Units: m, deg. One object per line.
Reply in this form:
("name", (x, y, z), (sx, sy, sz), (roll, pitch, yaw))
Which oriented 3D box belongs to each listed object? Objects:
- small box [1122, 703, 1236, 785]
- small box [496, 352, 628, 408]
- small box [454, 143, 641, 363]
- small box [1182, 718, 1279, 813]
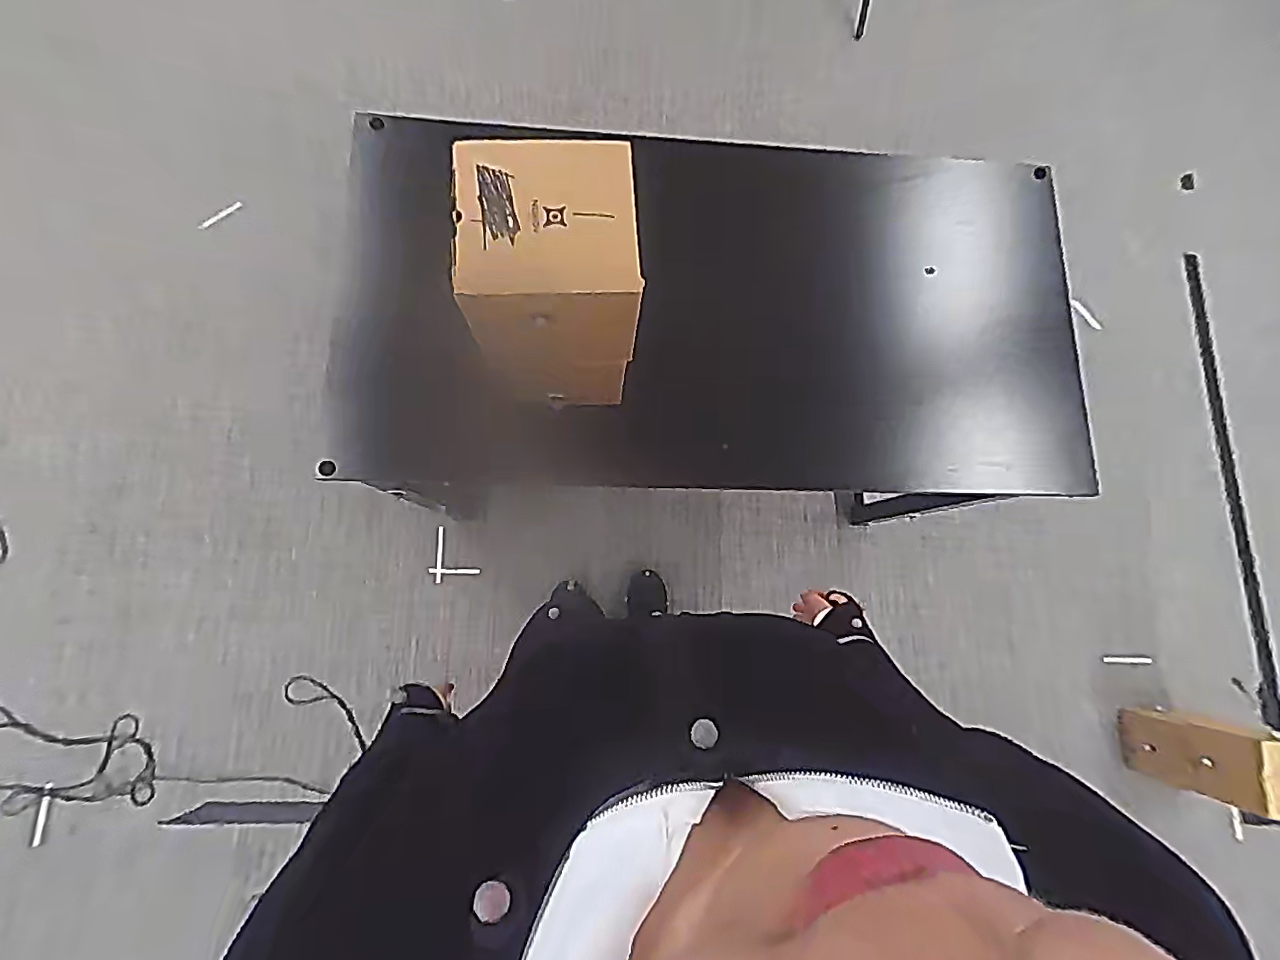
("small box", (1.468, 0.714, 1.474), (0.179, 0.176, 0.168), (1, 80, -4))
("small box", (-0.107, -0.211, 0.761), (0.168, 0.176, 0.179), (-3, 81, -4))
("small box", (-0.095, -0.237, 0.598), (0.179, 0.176, 0.168), (-3, 80, -5))
("small box", (1.484, 0.688, 1.311), (0.179, 0.176, 0.168), (6, 79, -3))
